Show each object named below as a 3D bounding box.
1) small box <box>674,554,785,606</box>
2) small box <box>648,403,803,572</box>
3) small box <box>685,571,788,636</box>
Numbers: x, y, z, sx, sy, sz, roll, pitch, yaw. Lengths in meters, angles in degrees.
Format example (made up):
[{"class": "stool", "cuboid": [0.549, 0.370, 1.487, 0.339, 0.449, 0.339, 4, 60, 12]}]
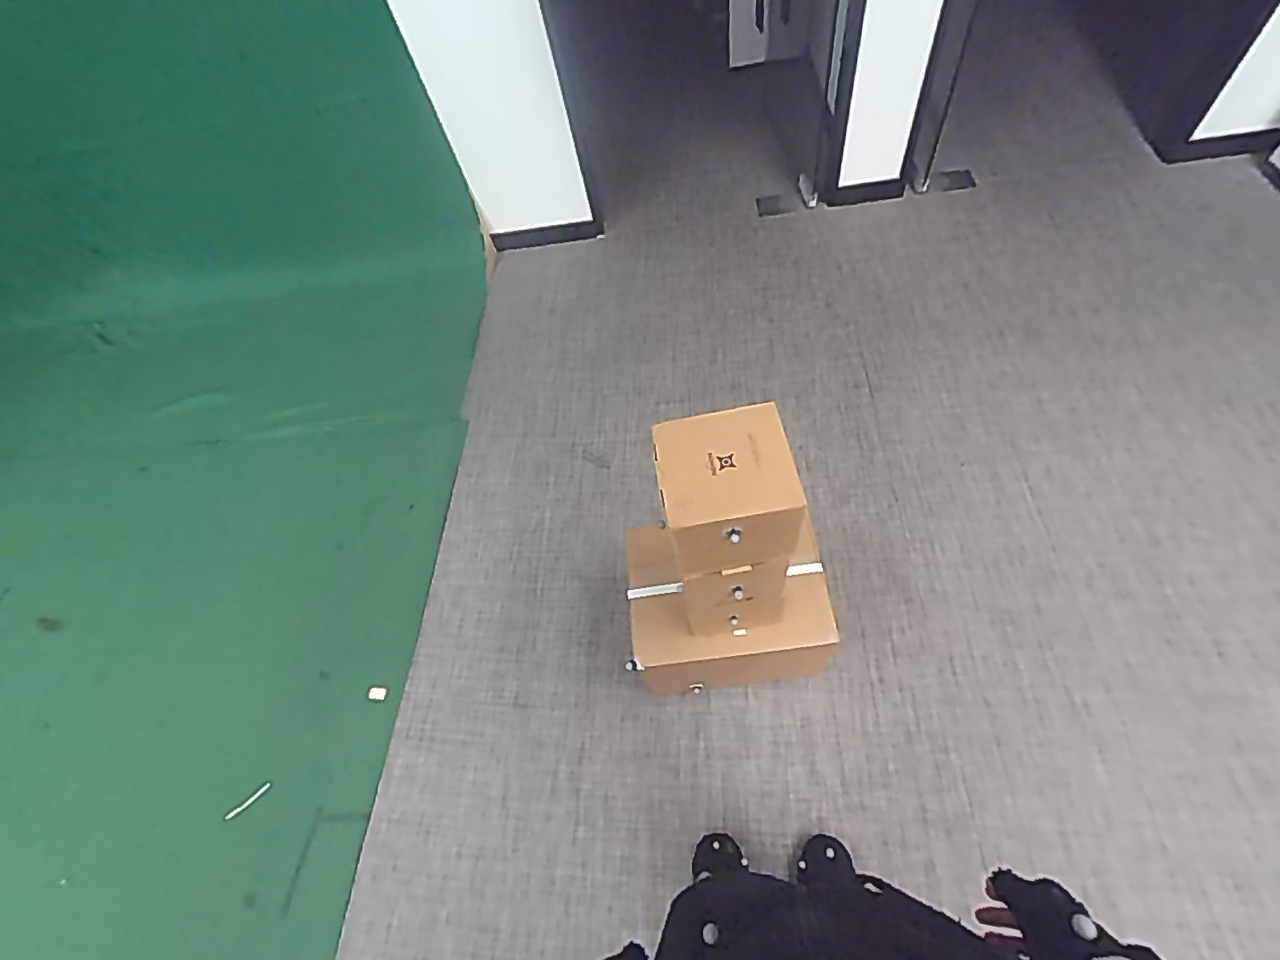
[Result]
[{"class": "small box", "cuboid": [0.138, 0.101, 0.907, 0.168, 0.176, 0.179, -11, 58, 4]}, {"class": "small box", "cuboid": [0.117, 0.019, 0.767, 0.179, 0.176, 0.168, -10, 59, 3]}, {"class": "small box", "cuboid": [0.168, 0.187, 1.042, 0.179, 0.176, 0.168, -13, 58, 2]}]
